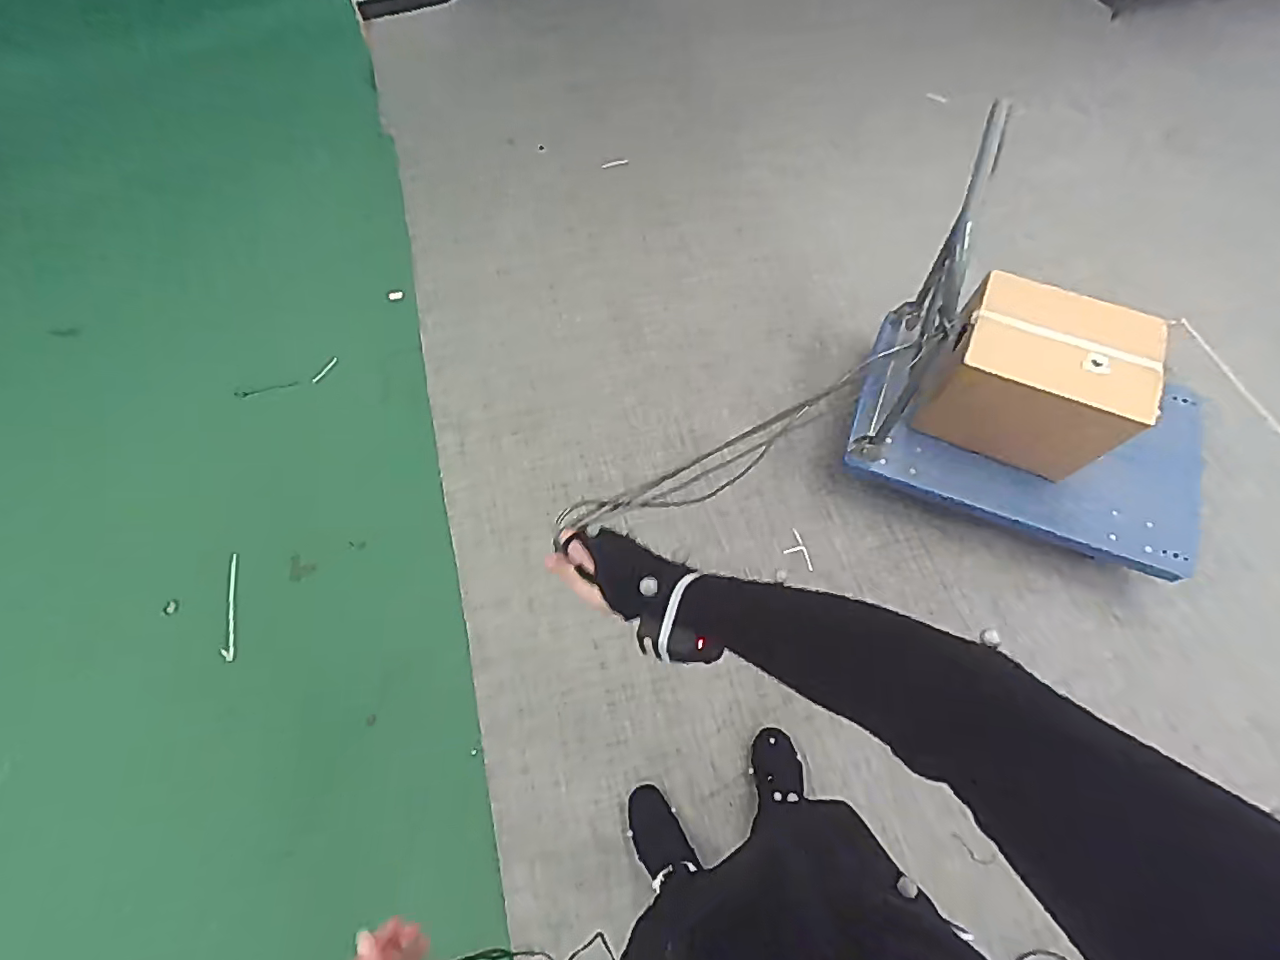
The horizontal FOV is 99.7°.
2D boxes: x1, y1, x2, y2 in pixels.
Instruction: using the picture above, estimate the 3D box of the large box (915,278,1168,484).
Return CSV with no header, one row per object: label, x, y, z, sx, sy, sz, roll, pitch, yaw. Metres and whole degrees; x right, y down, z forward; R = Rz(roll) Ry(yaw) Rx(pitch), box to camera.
large box,0.989,-0.242,1.374,0.408,0.320,0.320,23,70,11
